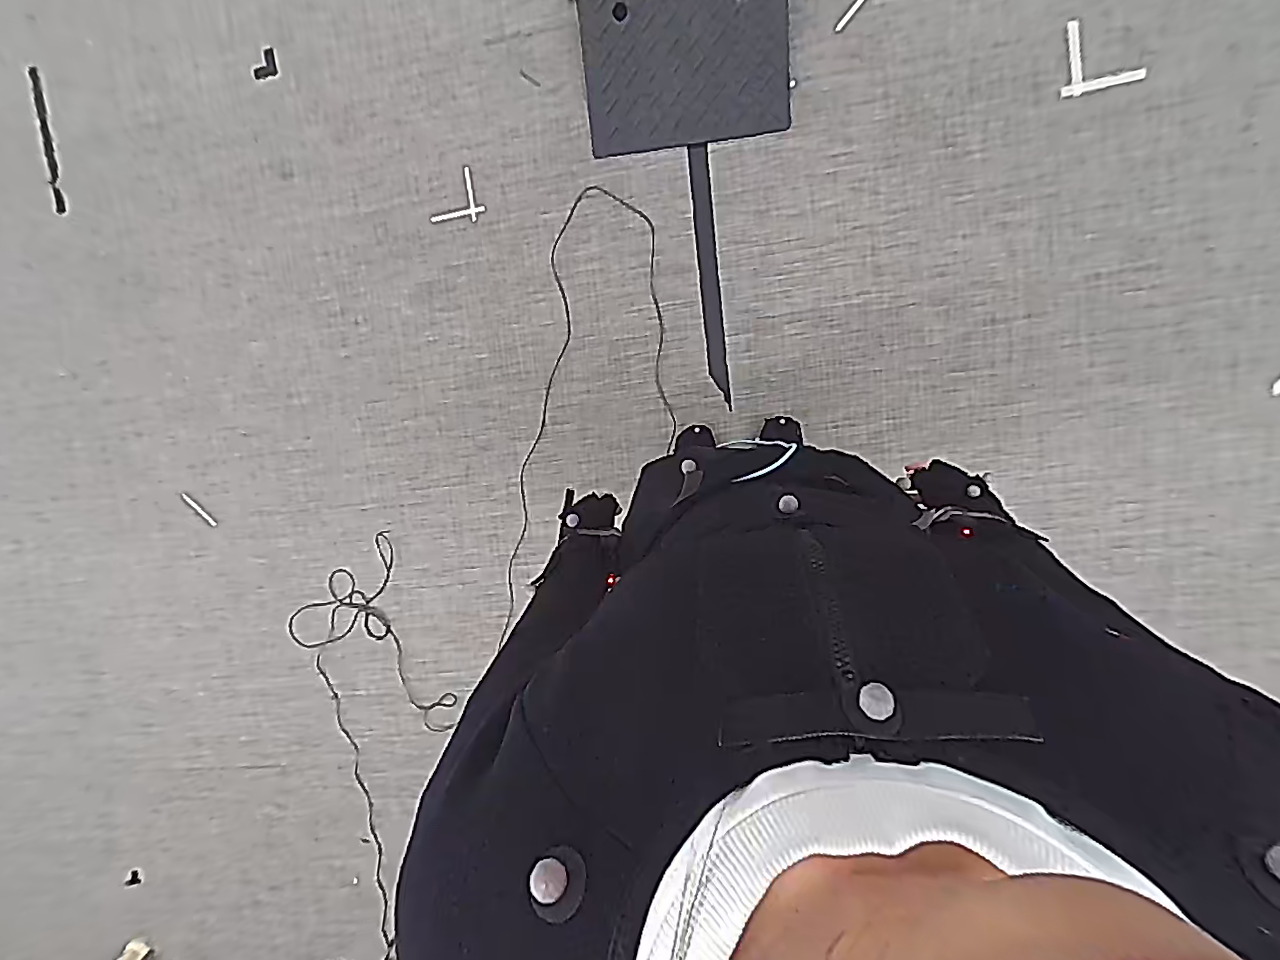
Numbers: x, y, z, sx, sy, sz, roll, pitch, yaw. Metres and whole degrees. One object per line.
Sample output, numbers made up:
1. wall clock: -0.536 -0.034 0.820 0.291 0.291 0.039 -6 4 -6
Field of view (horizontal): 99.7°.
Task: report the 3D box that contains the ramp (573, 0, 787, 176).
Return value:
1. ramp: 0.066 -1.292 1.248 0.509 0.206 0.991 -7 95 8
